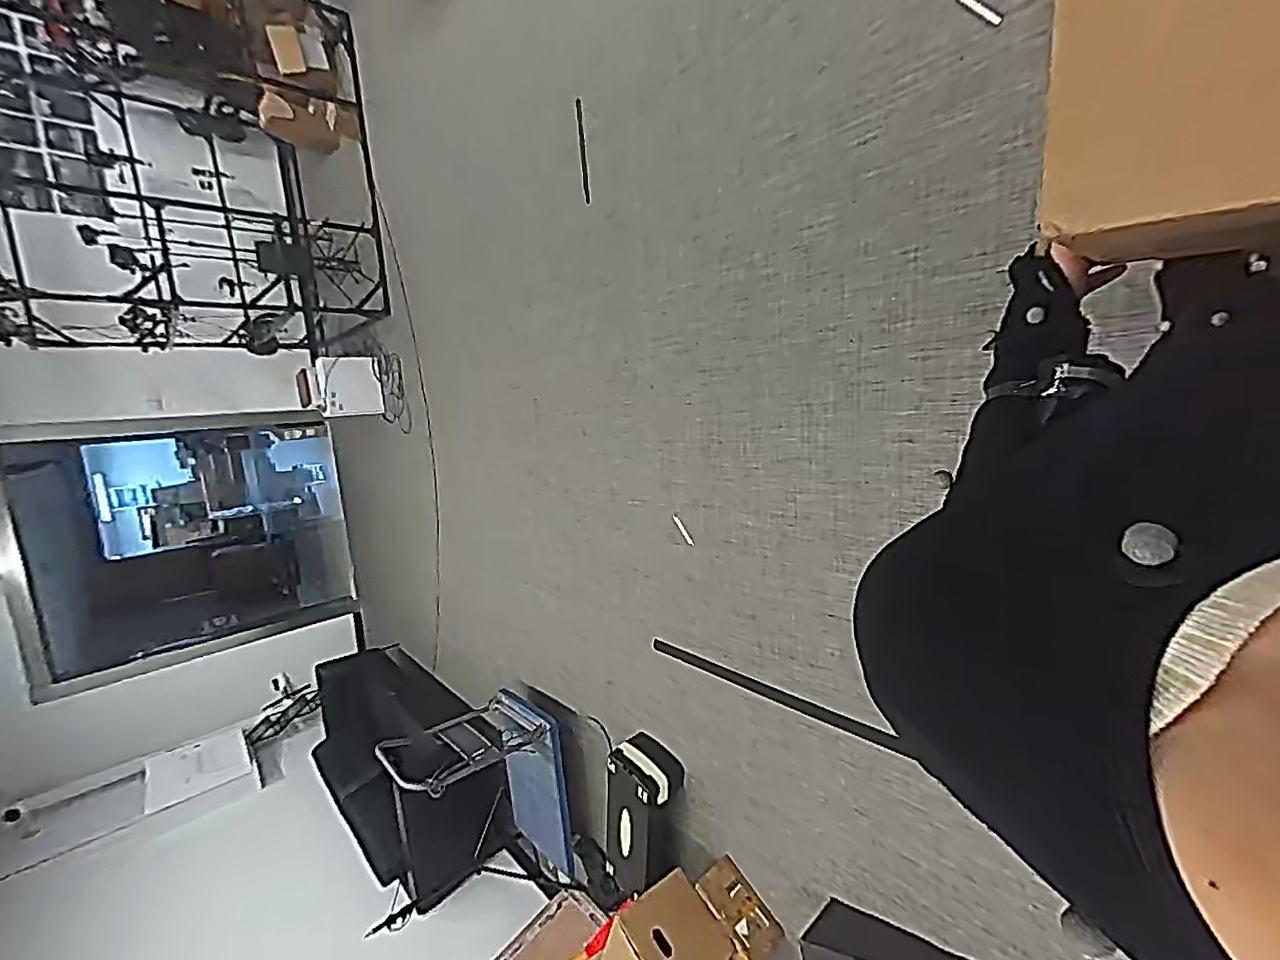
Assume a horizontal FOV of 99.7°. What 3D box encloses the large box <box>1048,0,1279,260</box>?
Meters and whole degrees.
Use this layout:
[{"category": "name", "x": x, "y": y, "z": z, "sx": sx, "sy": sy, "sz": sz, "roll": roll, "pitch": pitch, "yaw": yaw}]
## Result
[{"category": "large box", "x": 0.436, "y": -0.295, "z": 0.216, "sx": 0.408, "sy": 0.320, "sz": 0.320, "roll": 7, "pitch": 109, "yaw": 42}]
